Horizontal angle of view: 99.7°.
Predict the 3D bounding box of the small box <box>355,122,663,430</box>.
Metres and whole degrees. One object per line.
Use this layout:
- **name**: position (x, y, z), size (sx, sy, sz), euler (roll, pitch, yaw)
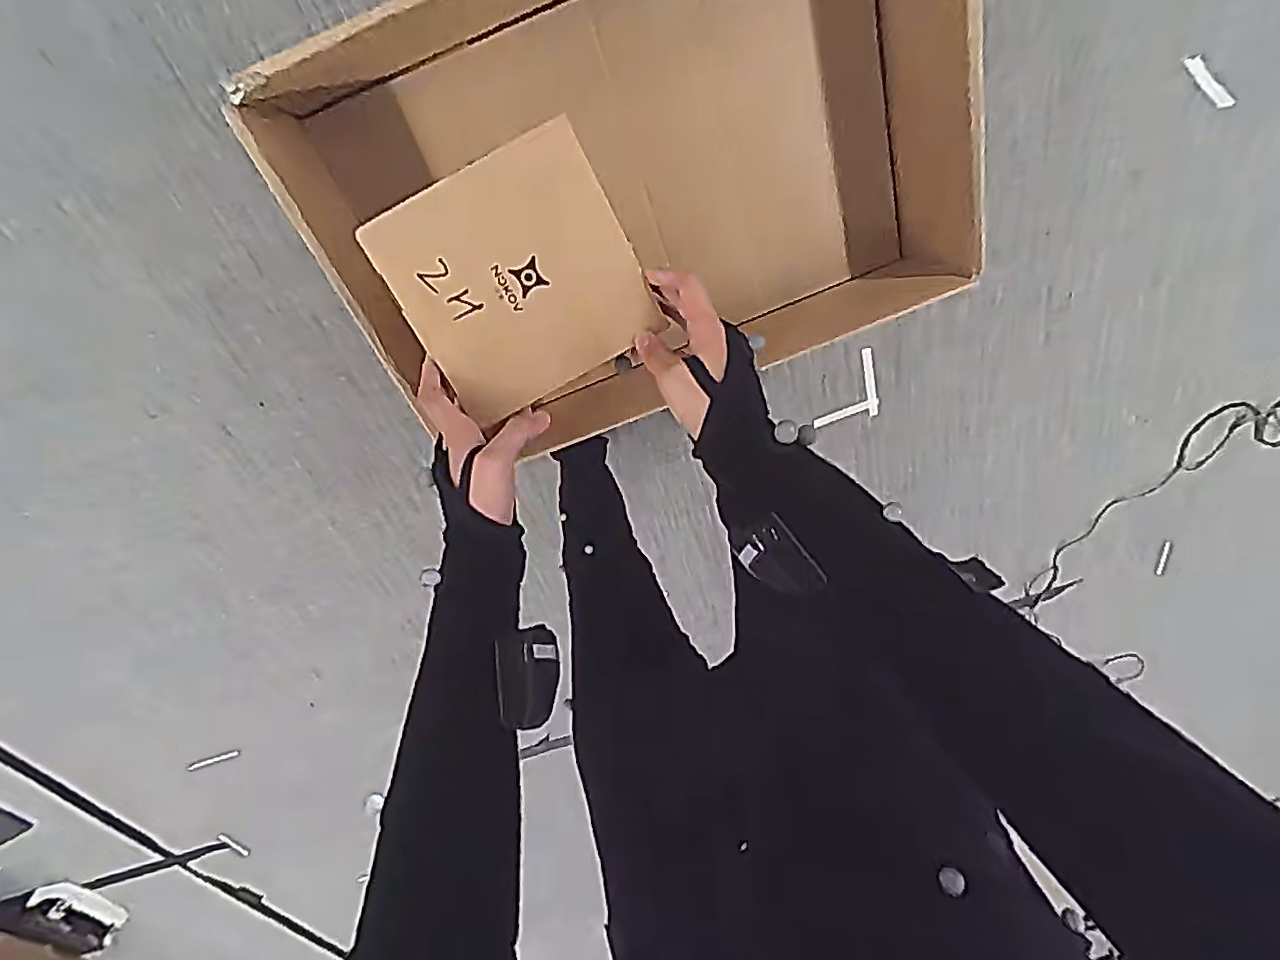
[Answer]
- **small box**: position (-0.102, -0.166, 0.480), size (0.179, 0.176, 0.168), euler (-28, 105, 2)
